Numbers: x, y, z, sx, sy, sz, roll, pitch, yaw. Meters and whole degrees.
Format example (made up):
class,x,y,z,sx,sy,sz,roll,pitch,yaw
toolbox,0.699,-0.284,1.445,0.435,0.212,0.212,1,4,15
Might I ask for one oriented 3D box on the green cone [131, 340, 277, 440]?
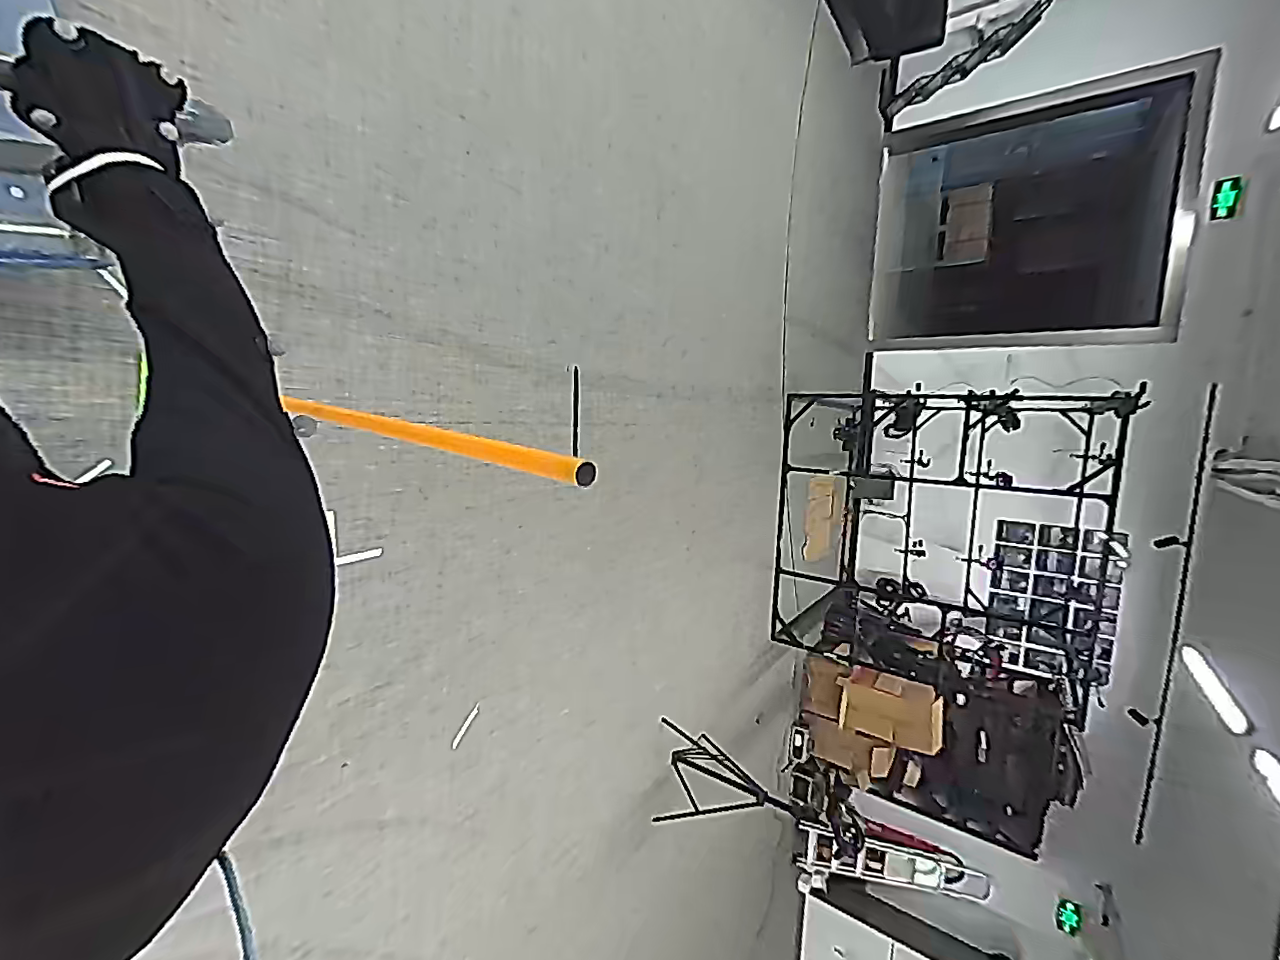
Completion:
class,x,y,z,sx,sy,sz,roll,pitch,yaw
green cone,-0.852,-0.176,1.105,0.202,0.368,0.200,0,96,-57
